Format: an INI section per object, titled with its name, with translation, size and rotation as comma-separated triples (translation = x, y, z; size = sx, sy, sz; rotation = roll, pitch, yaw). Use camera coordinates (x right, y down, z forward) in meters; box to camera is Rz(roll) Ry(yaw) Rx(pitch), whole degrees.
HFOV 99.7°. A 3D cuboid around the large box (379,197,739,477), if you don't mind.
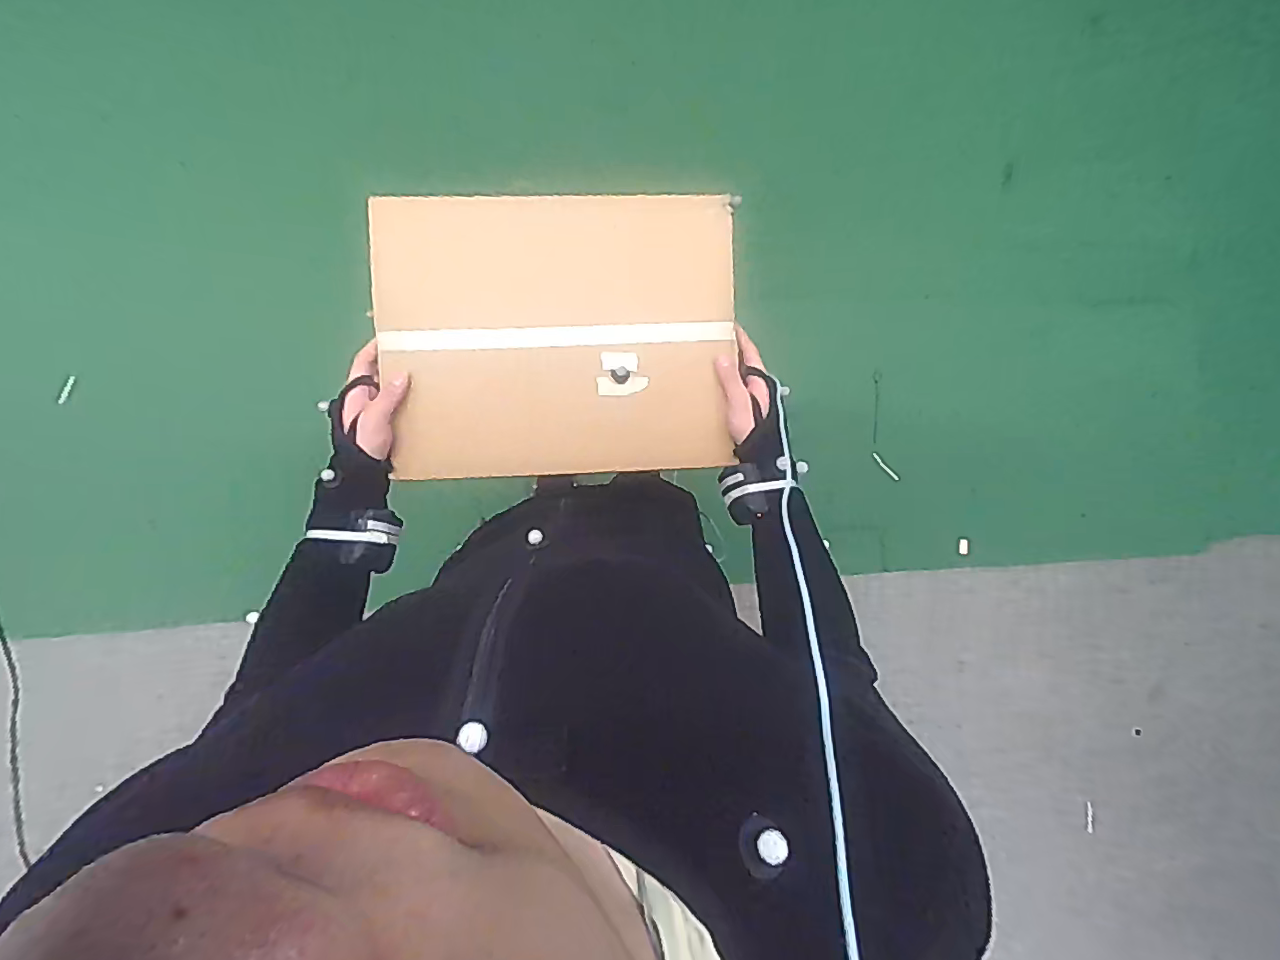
[large box]
translation = -0.101, -0.174, 0.773
size = 0.408, 0.320, 0.320
rotation = -3, 93, -5
